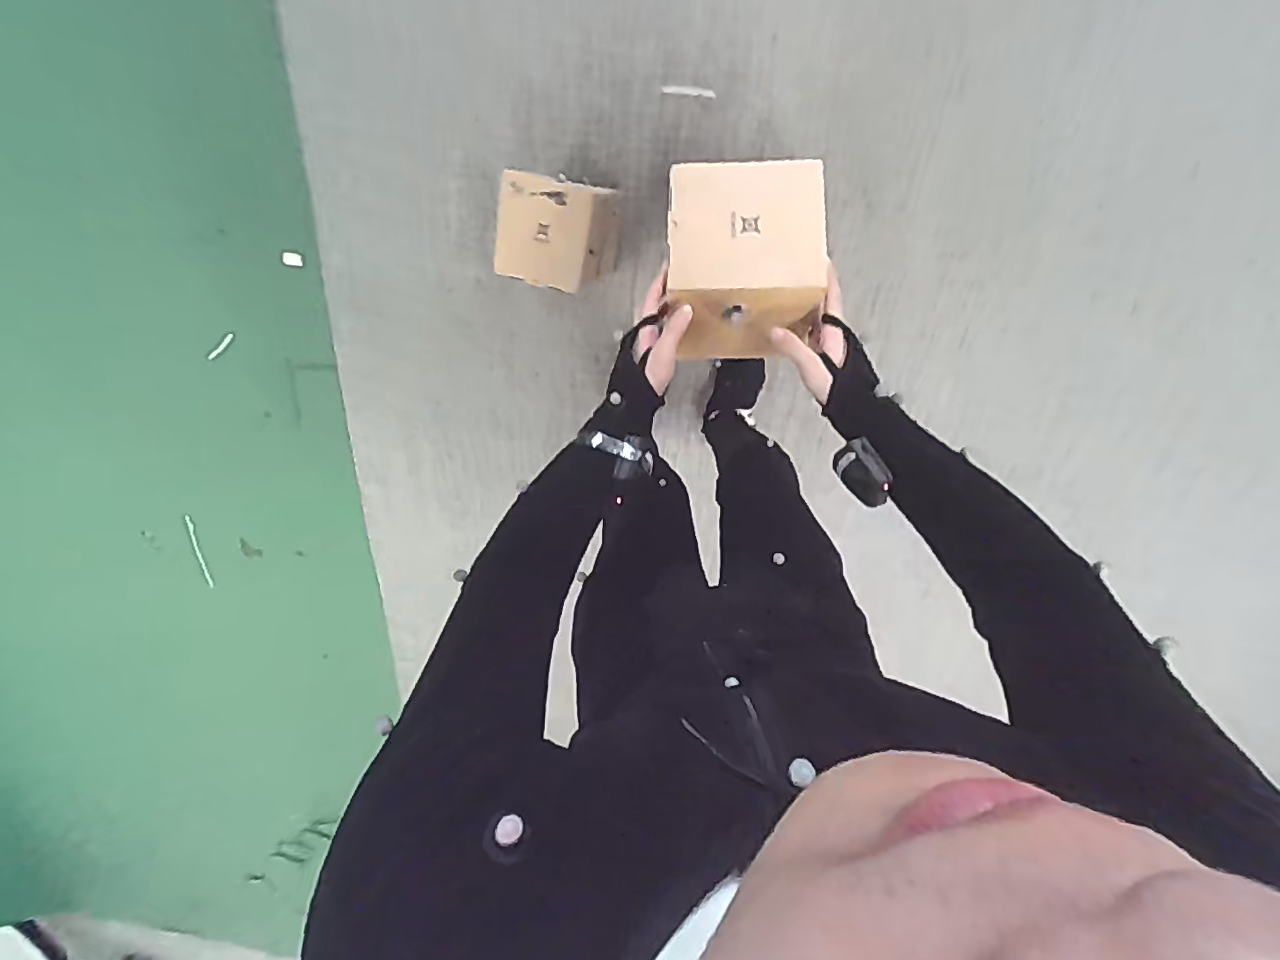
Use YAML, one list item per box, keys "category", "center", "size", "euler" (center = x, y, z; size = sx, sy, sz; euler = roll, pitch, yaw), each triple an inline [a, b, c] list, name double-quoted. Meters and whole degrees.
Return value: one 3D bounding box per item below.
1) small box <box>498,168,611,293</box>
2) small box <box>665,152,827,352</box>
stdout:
- category: "small box"
  center: [-0.160, -0.481, 1.041]
  size: [0.168, 0.176, 0.179]
  euler: [15, 118, 0]
- category: "small box"
  center: [0.123, -0.271, 0.675]
  size: [0.179, 0.176, 0.168]
  euler: [0, 78, 6]
